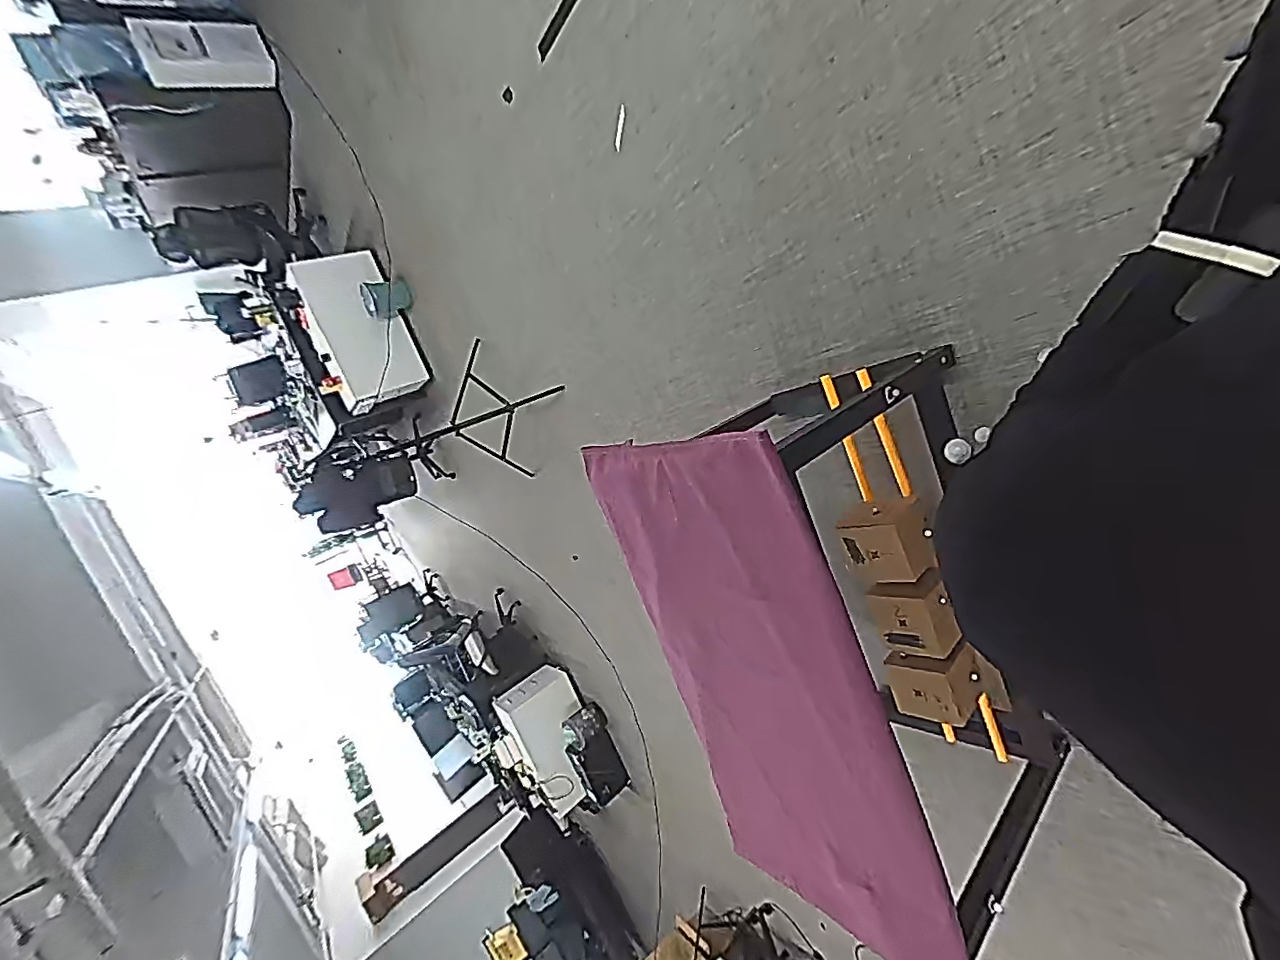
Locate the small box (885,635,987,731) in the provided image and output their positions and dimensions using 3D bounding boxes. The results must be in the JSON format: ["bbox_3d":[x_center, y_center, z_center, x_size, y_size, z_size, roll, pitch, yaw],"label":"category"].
[{"bbox_3d":[0.817,0.548,1.490,0.179,0.176,0.168,-10,105,53],"label":"small box"}]

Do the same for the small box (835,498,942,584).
[{"bbox_3d":[0.655,0.159,1.425,0.179,0.176,0.168,-14,104,53],"label":"small box"}]
